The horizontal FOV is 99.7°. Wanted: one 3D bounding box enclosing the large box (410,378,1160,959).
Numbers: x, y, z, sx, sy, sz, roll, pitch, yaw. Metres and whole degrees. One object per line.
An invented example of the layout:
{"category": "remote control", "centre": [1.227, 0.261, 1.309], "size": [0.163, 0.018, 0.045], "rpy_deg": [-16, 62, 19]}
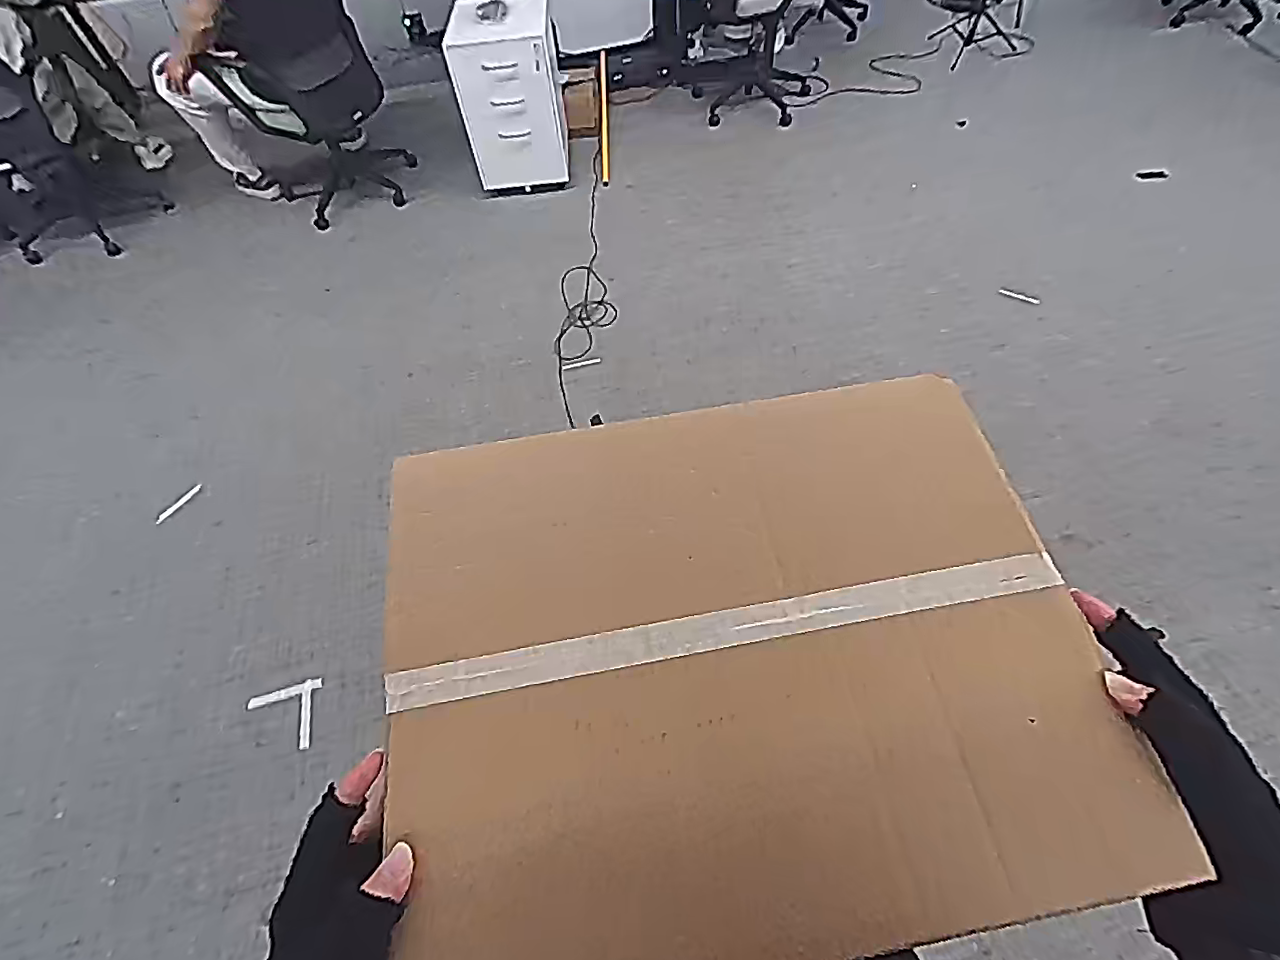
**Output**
{"category": "large box", "centre": [0.058, 0.156, 0.471], "size": [0.408, 0.320, 0.320], "rpy_deg": [-10, 64, -3]}
